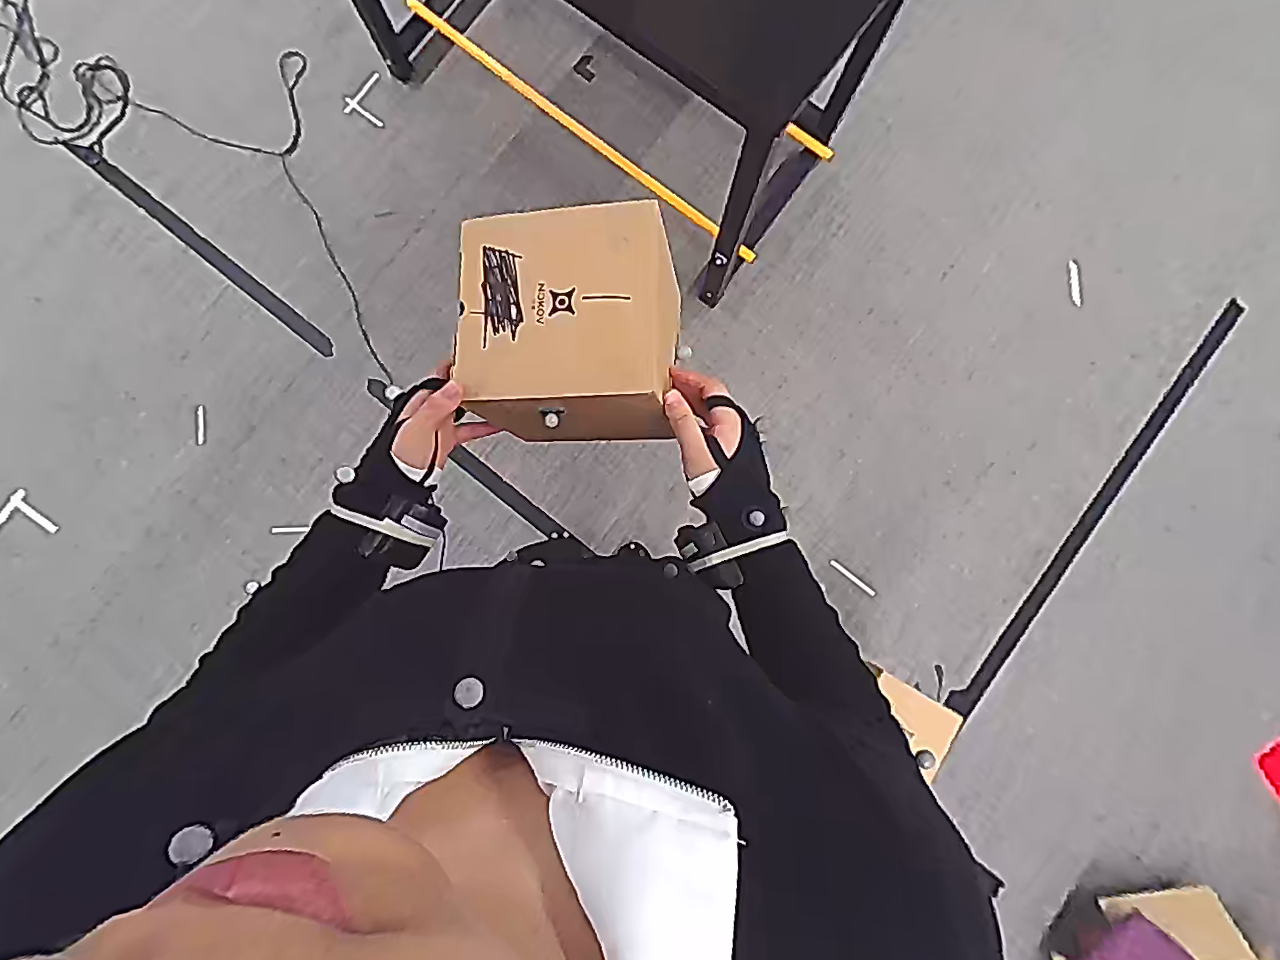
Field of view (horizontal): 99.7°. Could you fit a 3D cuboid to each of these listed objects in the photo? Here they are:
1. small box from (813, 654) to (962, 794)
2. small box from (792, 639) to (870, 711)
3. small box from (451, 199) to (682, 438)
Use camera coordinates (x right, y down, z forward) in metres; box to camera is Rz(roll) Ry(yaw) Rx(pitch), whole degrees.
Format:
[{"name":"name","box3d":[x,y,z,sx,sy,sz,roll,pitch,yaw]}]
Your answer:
[{"name":"small box","box3d":[0.480,0.469,1.074,0.179,0.176,0.168,31,84,1]},{"name":"small box","box3d":[0.477,0.484,1.239,0.179,0.176,0.168,36,85,2]},{"name":"small box","box3d":[-0.056,-0.137,0.522,0.179,0.176,0.168,0,82,10]}]
